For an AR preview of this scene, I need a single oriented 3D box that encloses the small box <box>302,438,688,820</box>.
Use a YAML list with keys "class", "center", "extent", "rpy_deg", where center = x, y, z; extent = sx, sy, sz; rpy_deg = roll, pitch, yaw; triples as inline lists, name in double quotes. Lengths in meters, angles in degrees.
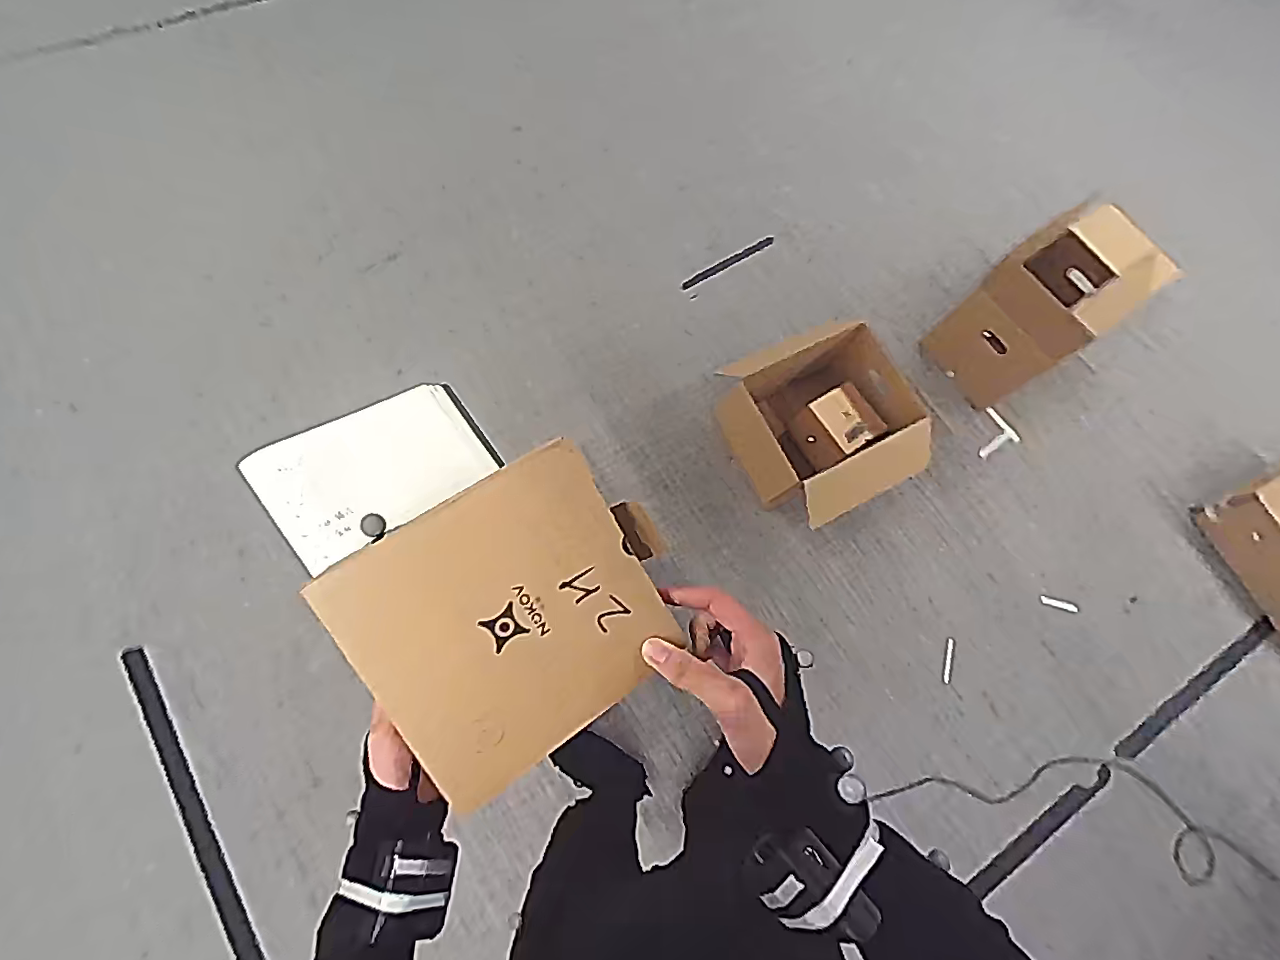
- class: "small box"
  center: [-0.101, 0.086, 0.397]
  extent: [0.179, 0.176, 0.168]
  rpy_deg: [-31, 100, -19]
